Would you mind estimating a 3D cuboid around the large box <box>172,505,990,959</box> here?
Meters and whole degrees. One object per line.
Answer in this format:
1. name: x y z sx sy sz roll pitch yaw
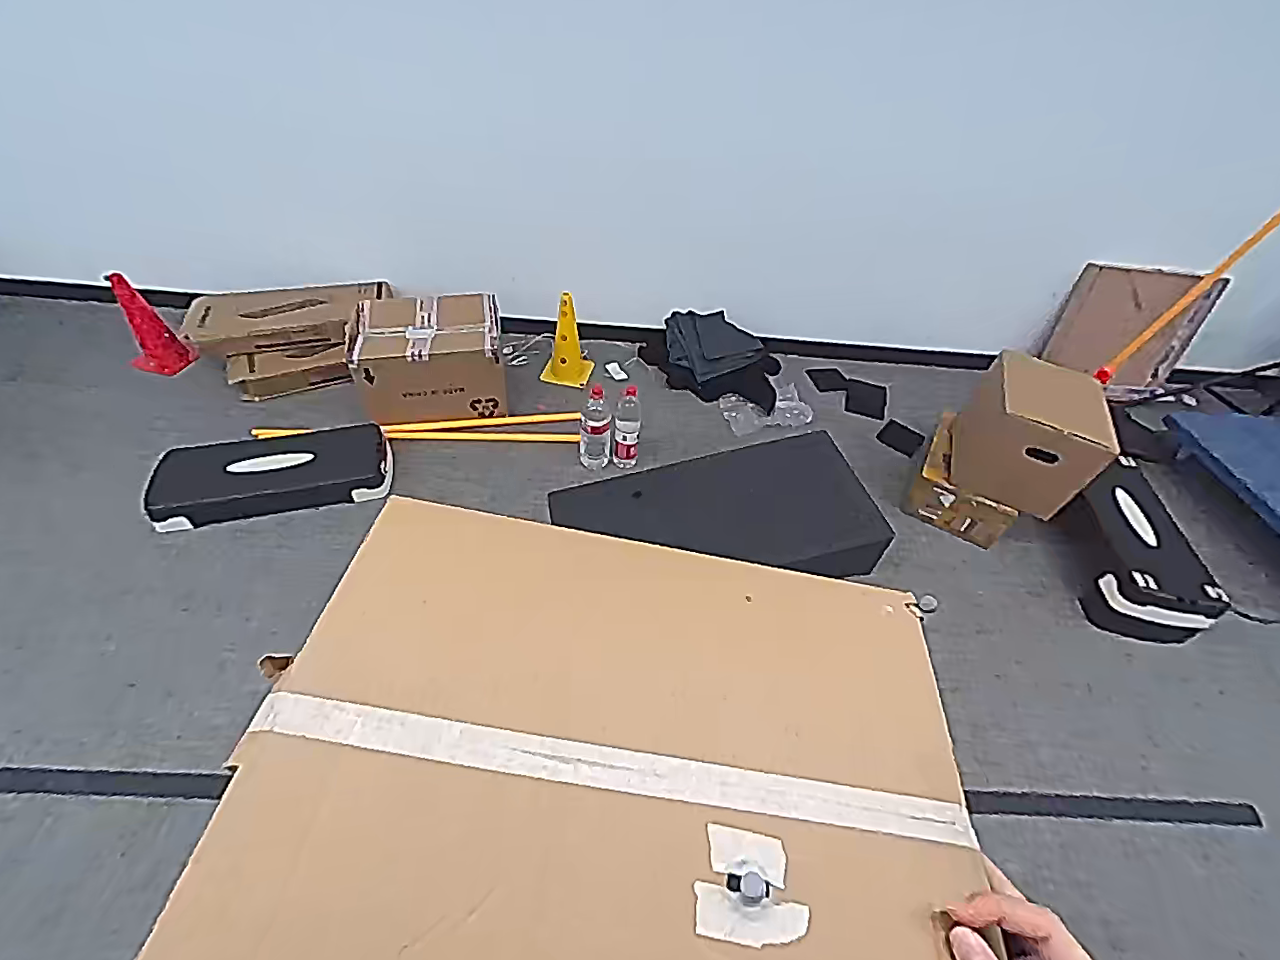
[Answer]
1. large box: -0.028 0.263 0.432 0.408 0.320 0.320 12 50 -3
